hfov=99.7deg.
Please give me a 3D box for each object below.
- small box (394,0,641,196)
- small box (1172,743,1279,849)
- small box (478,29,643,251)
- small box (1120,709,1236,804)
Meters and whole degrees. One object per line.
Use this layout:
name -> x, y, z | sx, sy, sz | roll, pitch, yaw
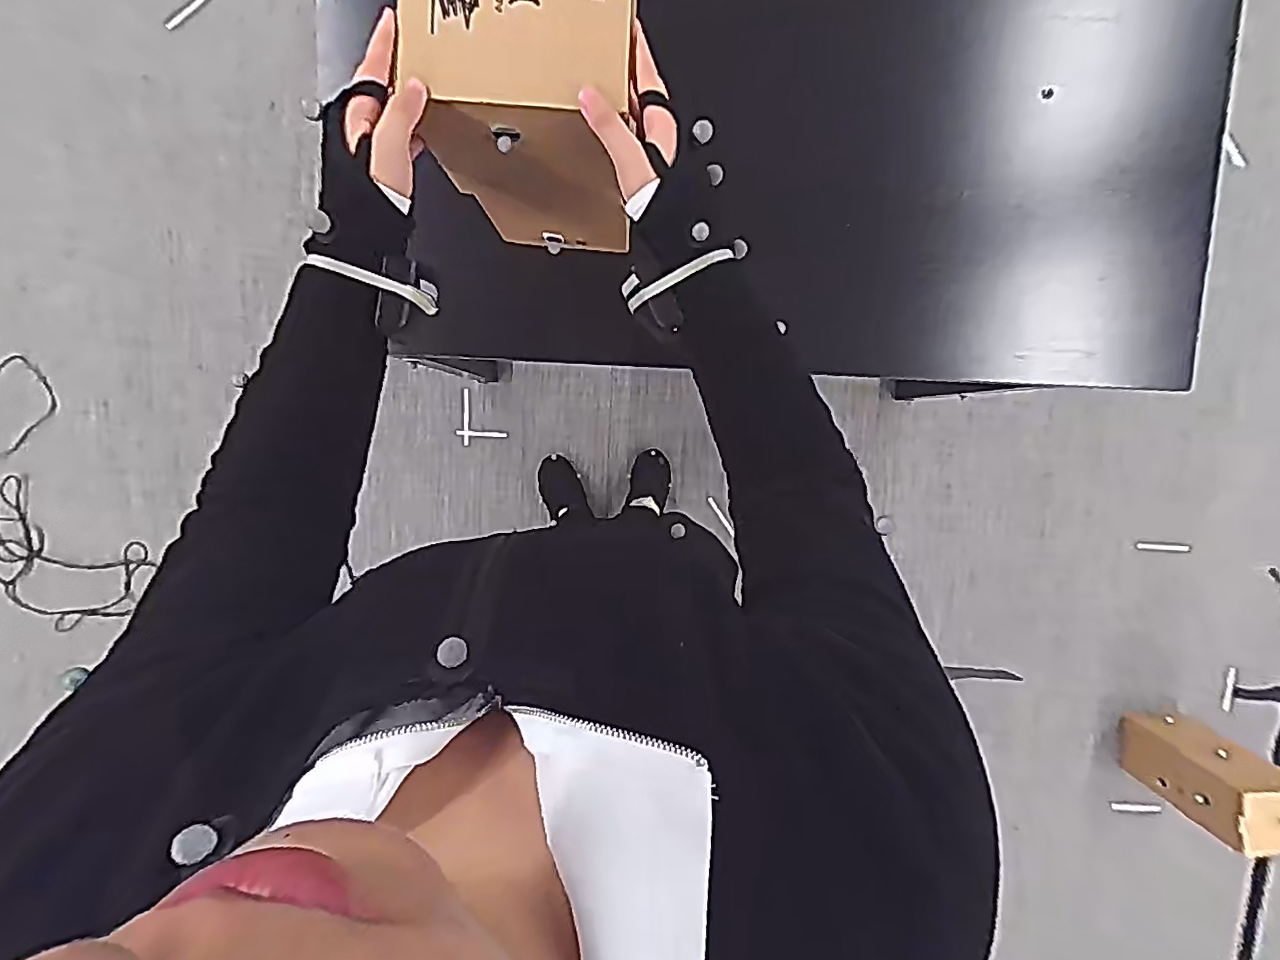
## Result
small box -> -0.091, -0.370, 0.473 | 0.179, 0.176, 0.168 | 3, 96, -2
small box -> 1.508, 0.792, 1.367 | 0.179, 0.176, 0.168 | -4, 96, 0
small box -> -0.086, -0.391, 0.636 | 0.168, 0.176, 0.179 | 3, 96, -1
small box -> 1.513, 0.776, 1.530 | 0.168, 0.176, 0.179 | -3, 96, -1
